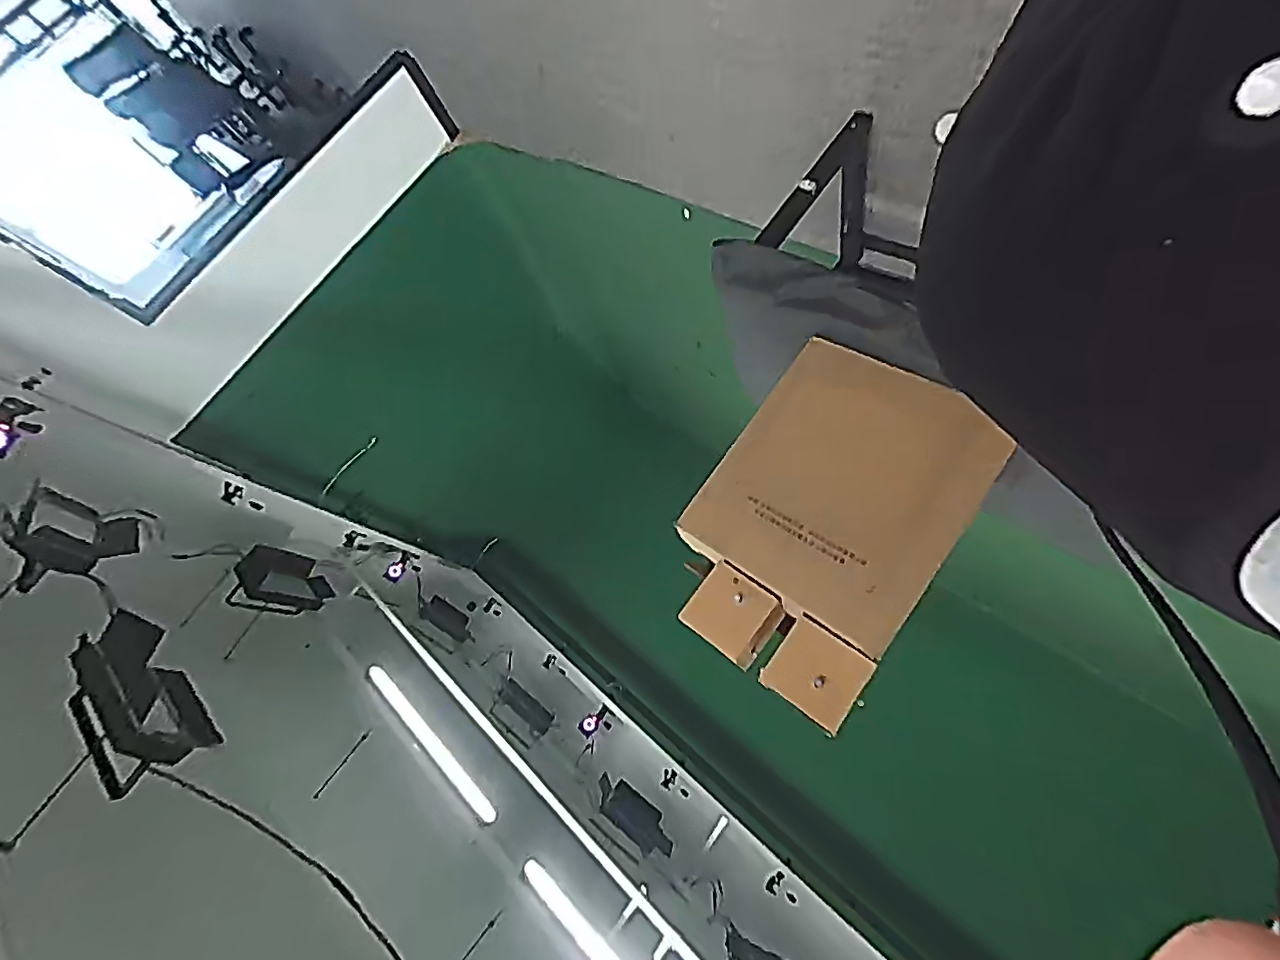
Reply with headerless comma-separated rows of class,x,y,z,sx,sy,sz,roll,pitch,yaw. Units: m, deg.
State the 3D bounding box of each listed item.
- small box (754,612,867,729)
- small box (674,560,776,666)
small box,0.374,0.415,1.184,0.179,0.176,0.168,31,169,27
small box,0.211,0.318,1.295,0.168,0.176,0.179,33,169,28
